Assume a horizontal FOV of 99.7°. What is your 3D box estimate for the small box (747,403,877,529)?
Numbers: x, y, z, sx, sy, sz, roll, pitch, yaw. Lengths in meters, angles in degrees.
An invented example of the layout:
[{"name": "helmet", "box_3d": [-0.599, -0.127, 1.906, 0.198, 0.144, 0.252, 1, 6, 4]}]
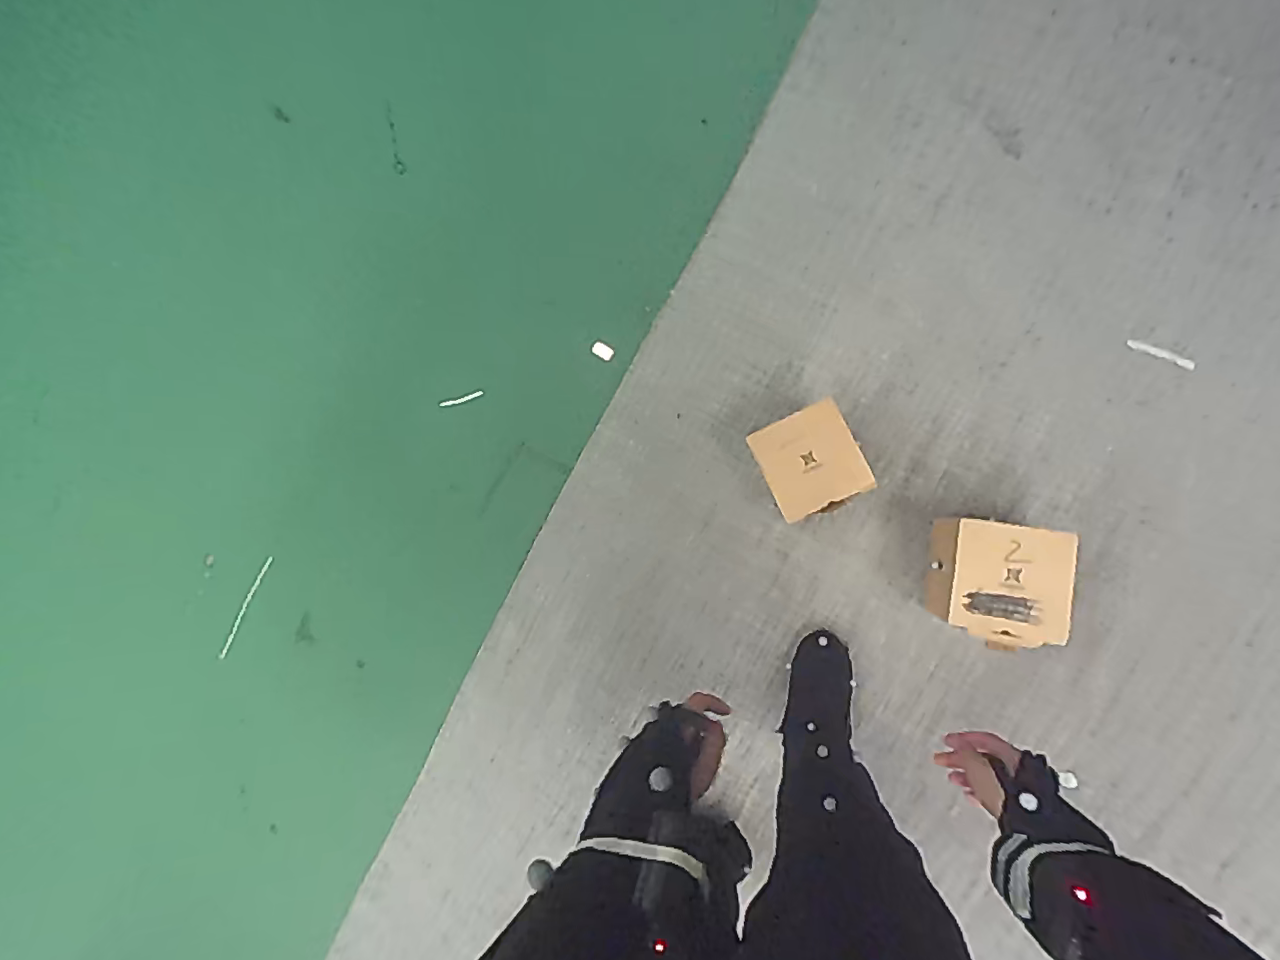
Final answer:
[{"name": "small box", "box_3d": [0.317, -0.019, 1.015, 0.168, 0.176, 0.179, -26, 78, 11]}]
